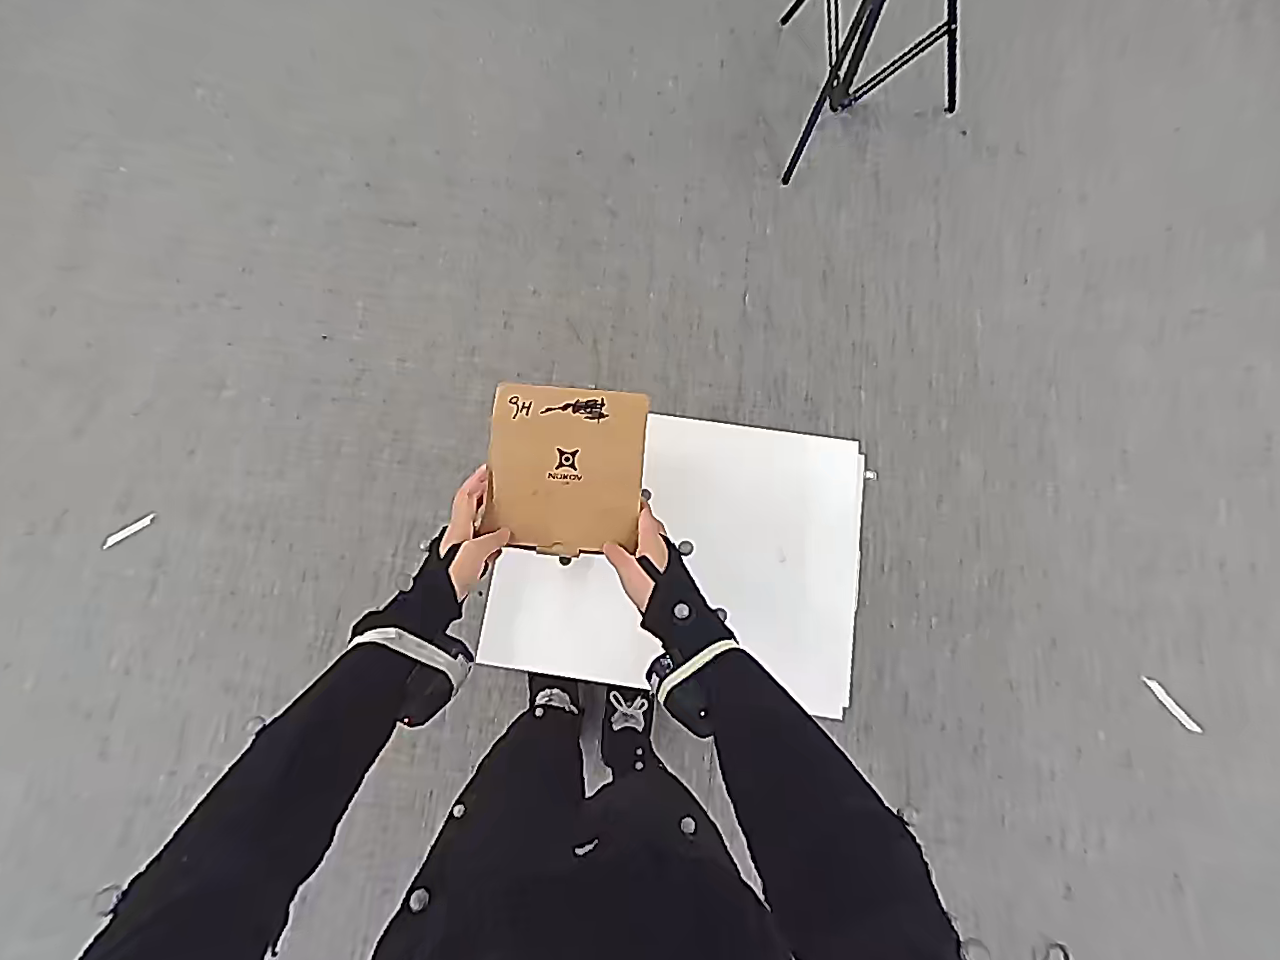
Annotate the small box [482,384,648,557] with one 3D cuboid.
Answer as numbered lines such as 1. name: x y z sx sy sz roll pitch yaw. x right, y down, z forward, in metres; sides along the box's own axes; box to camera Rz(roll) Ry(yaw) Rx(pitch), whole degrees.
1. small box: -0.080 -0.003 0.652 0.168 0.176 0.179 4 83 -1
